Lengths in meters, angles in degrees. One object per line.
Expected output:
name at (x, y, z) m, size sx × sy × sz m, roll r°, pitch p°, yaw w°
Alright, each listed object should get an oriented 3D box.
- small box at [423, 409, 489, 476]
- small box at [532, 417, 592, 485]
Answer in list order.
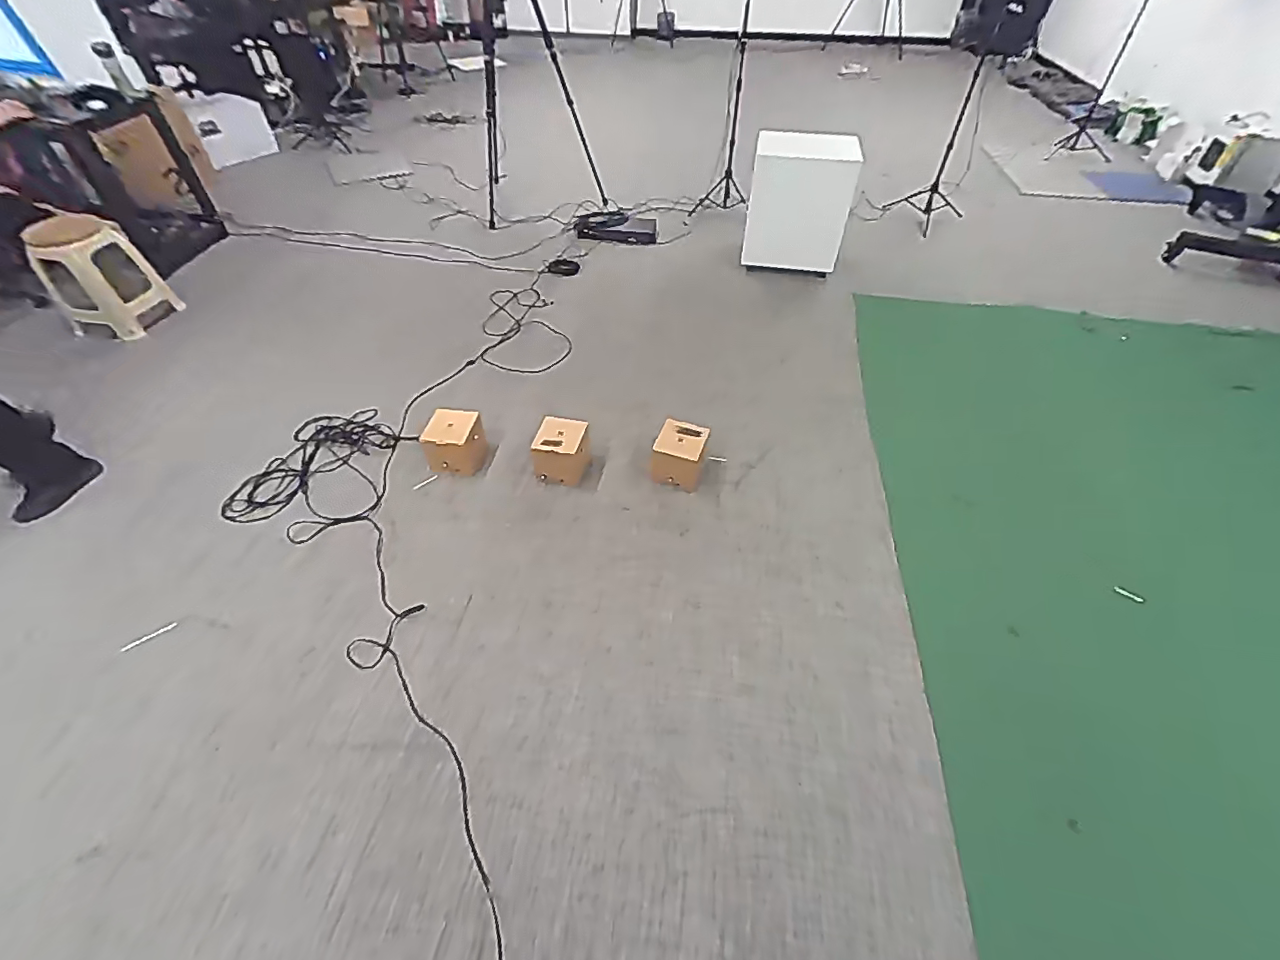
small box at (-0.679, -0.139, 2.021) m, size 0.168 × 0.176 × 0.179 m, roll 5°, pitch 48°, yaw 5°
small box at (-0.279, -0.103, 1.986) m, size 0.168 × 0.176 × 0.179 m, roll 9°, pitch 48°, yaw 9°
